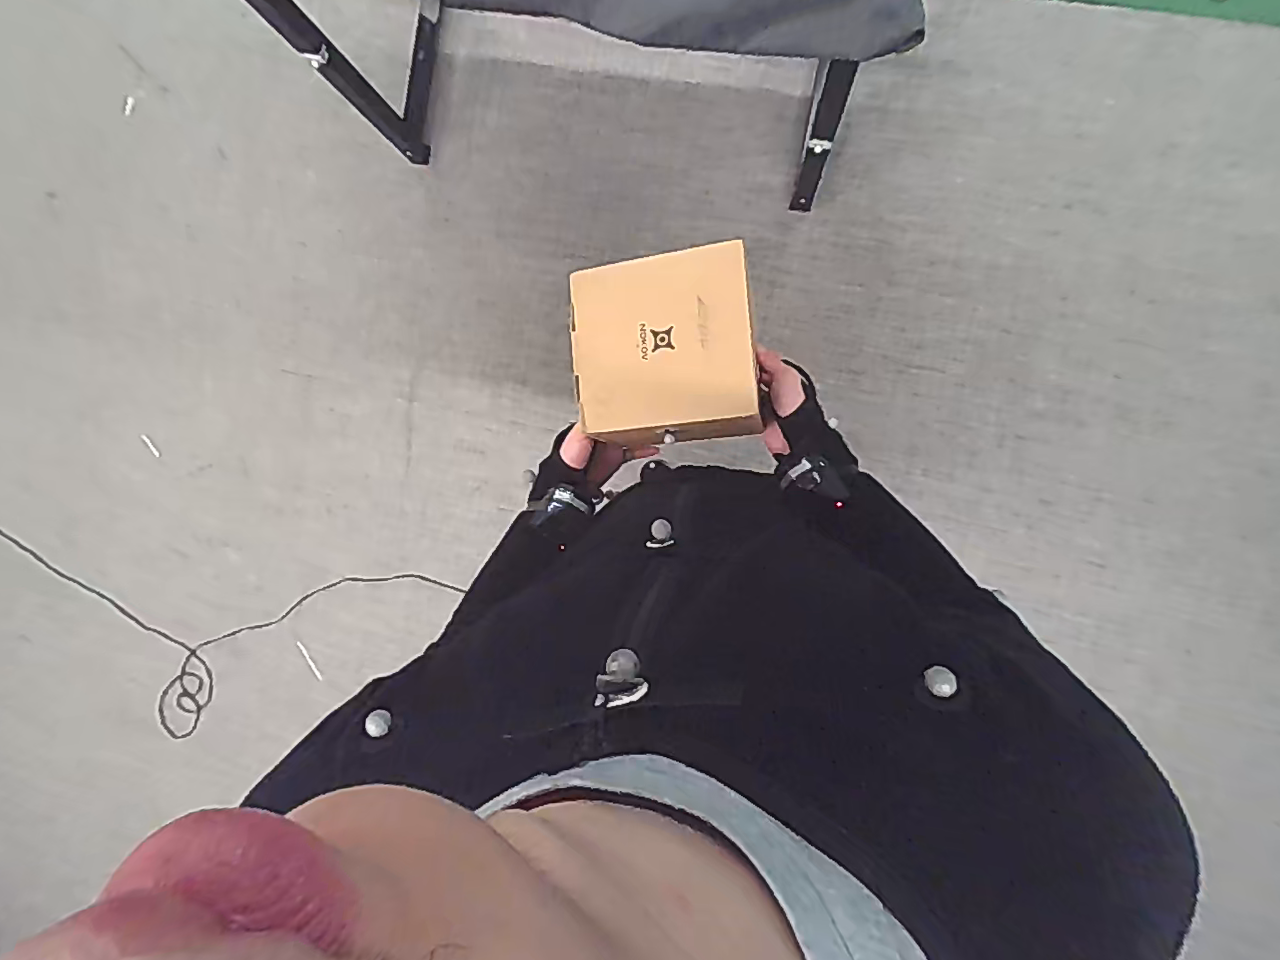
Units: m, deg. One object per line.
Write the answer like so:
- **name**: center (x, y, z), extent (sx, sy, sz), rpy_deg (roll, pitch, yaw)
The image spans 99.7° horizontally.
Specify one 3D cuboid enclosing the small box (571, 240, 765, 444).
- **small box**: center (0.040, -0.134, 0.596), extent (0.179, 0.176, 0.168), rpy_deg (-5, 88, 15)
